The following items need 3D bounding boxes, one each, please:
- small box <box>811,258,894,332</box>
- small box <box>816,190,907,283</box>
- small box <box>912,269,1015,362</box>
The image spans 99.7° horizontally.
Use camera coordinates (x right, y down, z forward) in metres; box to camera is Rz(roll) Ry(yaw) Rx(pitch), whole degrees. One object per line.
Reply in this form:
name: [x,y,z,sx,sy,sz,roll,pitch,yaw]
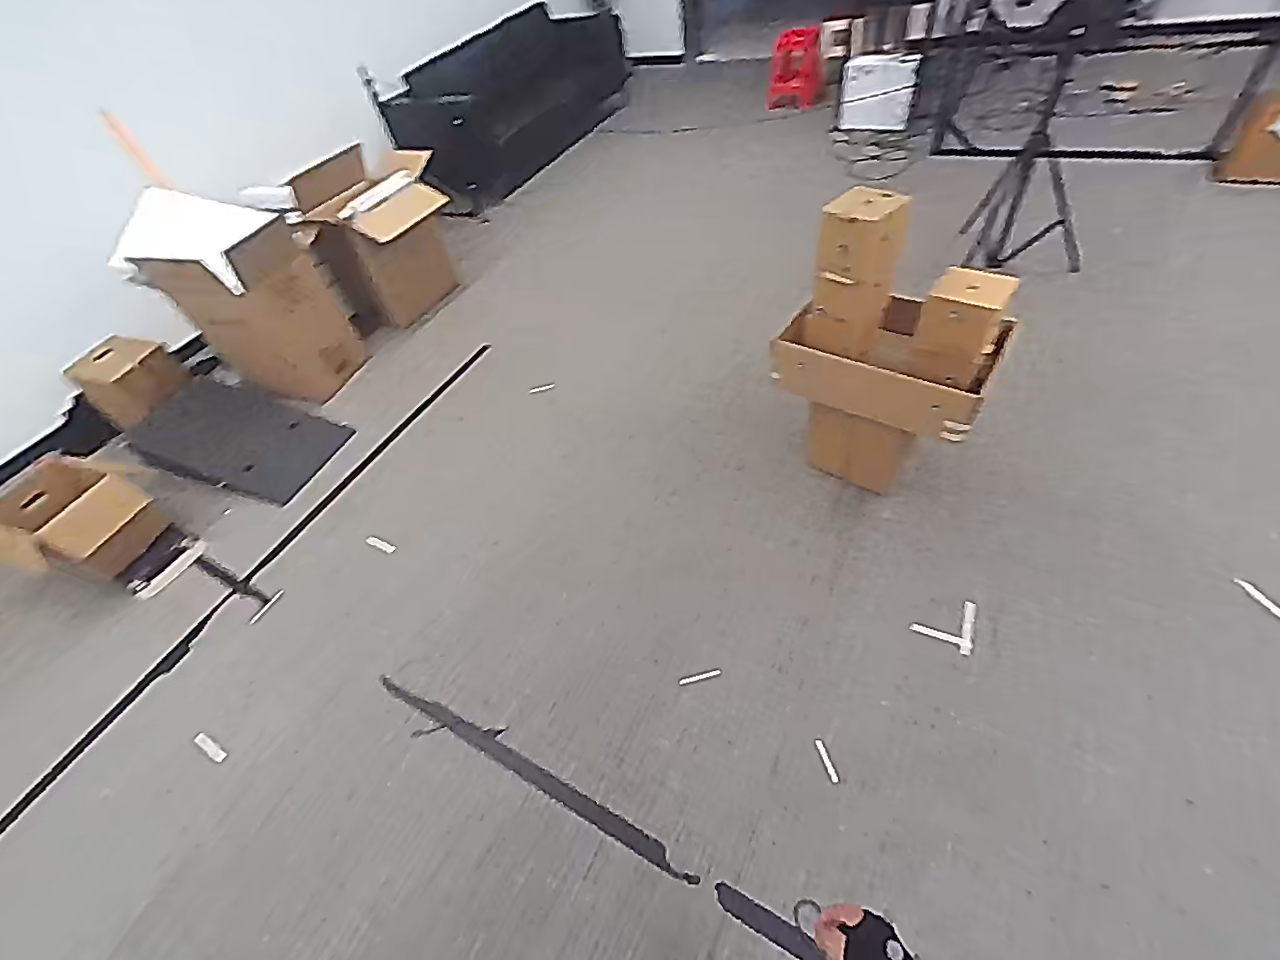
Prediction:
small box: [0.636,-0.576,1.638,0.168,0.176,0.179,33,61,33]
small box: [0.610,-0.679,1.512,0.179,0.176,0.168,-38,53,-21]
small box: [0.875,-0.445,1.476,0.179,0.176,0.168,27,58,31]
